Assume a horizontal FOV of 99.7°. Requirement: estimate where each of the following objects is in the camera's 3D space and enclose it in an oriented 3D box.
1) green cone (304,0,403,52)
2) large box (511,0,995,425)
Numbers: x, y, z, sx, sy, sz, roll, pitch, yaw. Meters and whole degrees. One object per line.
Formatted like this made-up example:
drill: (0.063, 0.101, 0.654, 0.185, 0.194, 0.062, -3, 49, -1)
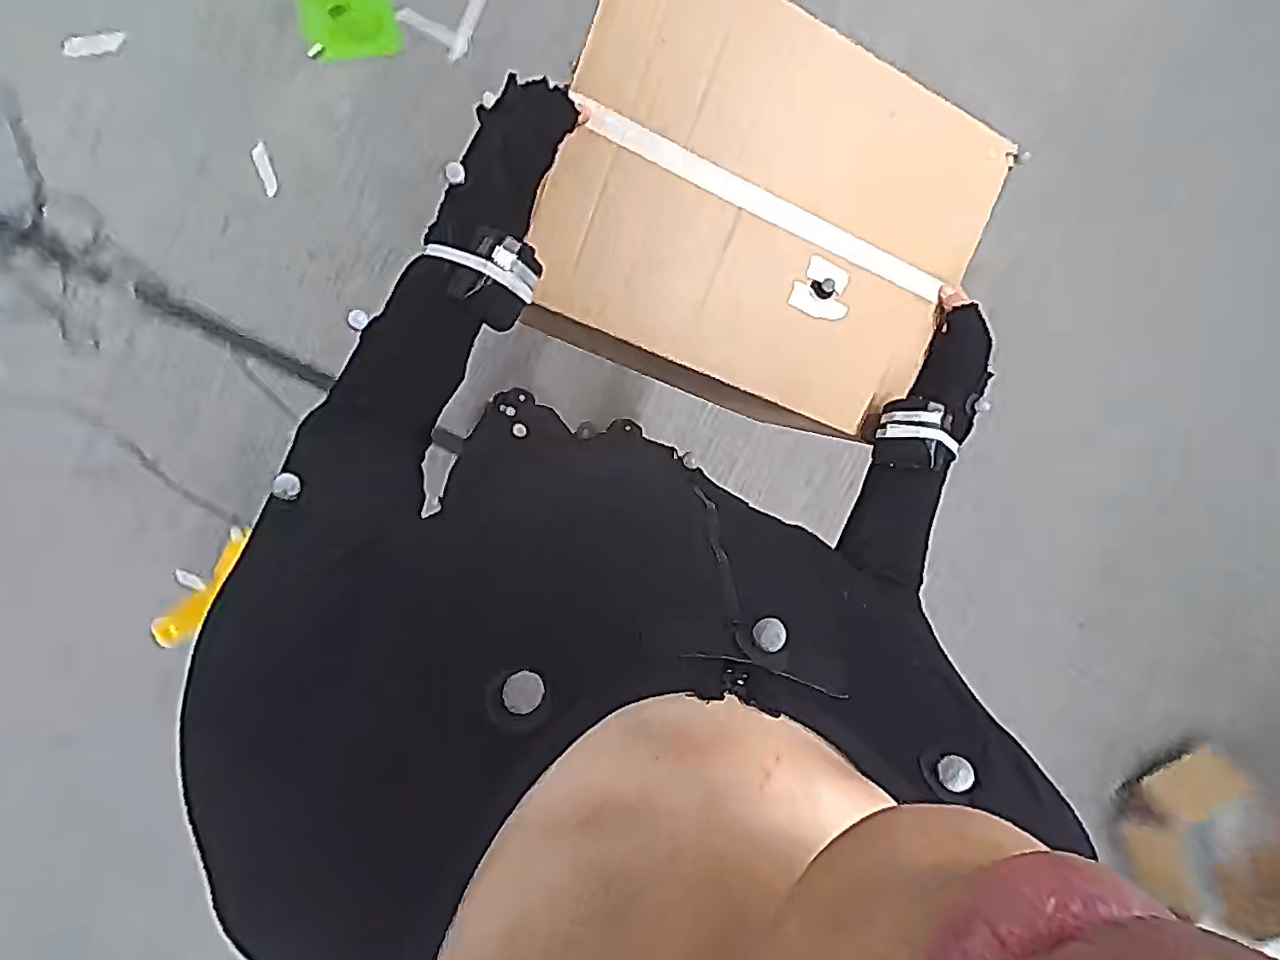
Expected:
green cone: (-0.623, -1.058, 1.049, 0.200, 0.368, 0.202, -12, 99, -8)
large box: (0.085, -0.279, 0.635, 0.408, 0.320, 0.320, 17, 98, -15)
